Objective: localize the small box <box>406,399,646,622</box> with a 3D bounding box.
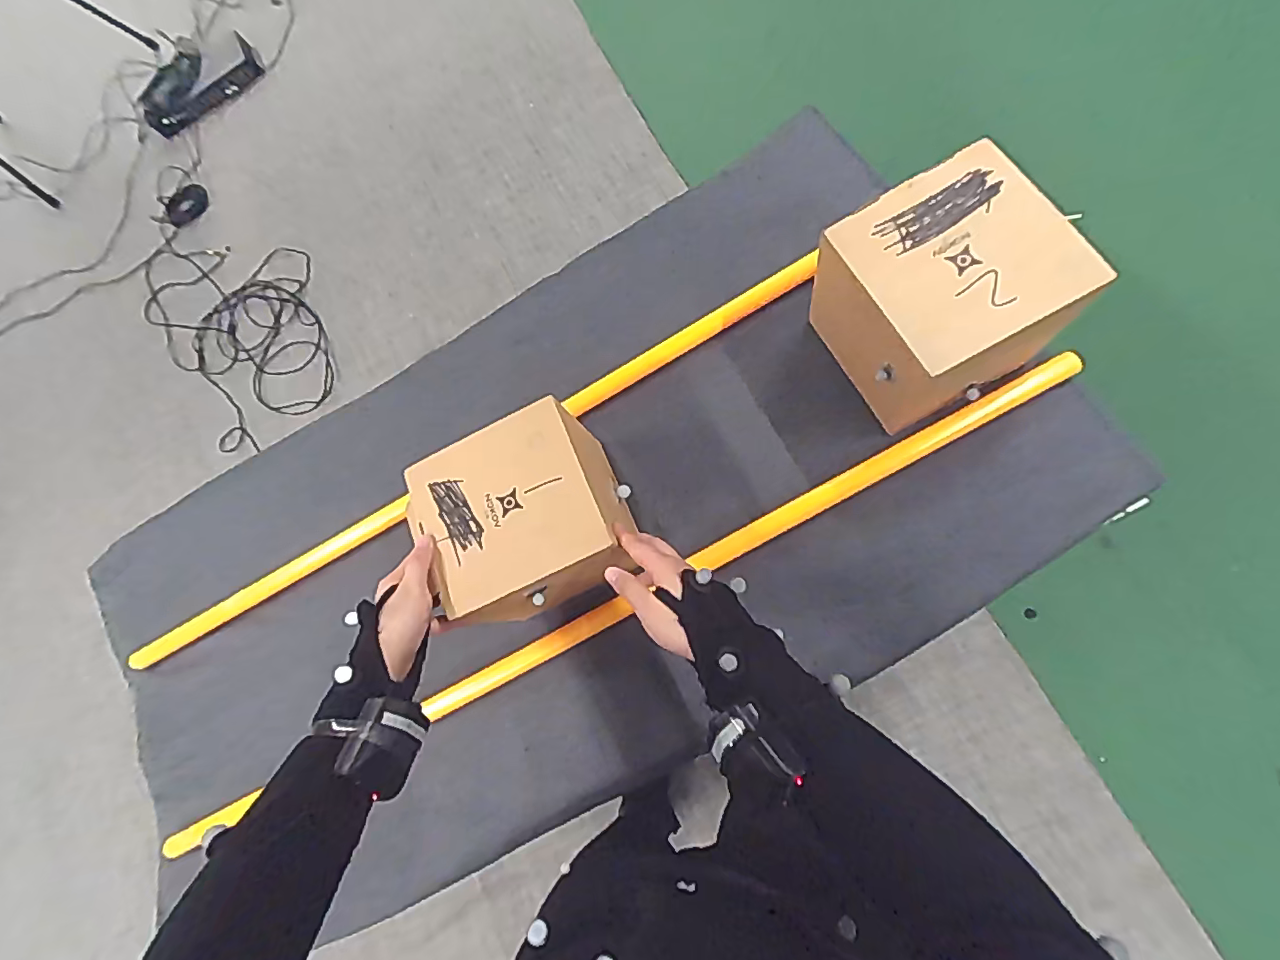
[{"bbox_3d":[-0.114,0.045,0.591,0.179,0.176,0.168,-26,74,6],"label":"small box"}]
